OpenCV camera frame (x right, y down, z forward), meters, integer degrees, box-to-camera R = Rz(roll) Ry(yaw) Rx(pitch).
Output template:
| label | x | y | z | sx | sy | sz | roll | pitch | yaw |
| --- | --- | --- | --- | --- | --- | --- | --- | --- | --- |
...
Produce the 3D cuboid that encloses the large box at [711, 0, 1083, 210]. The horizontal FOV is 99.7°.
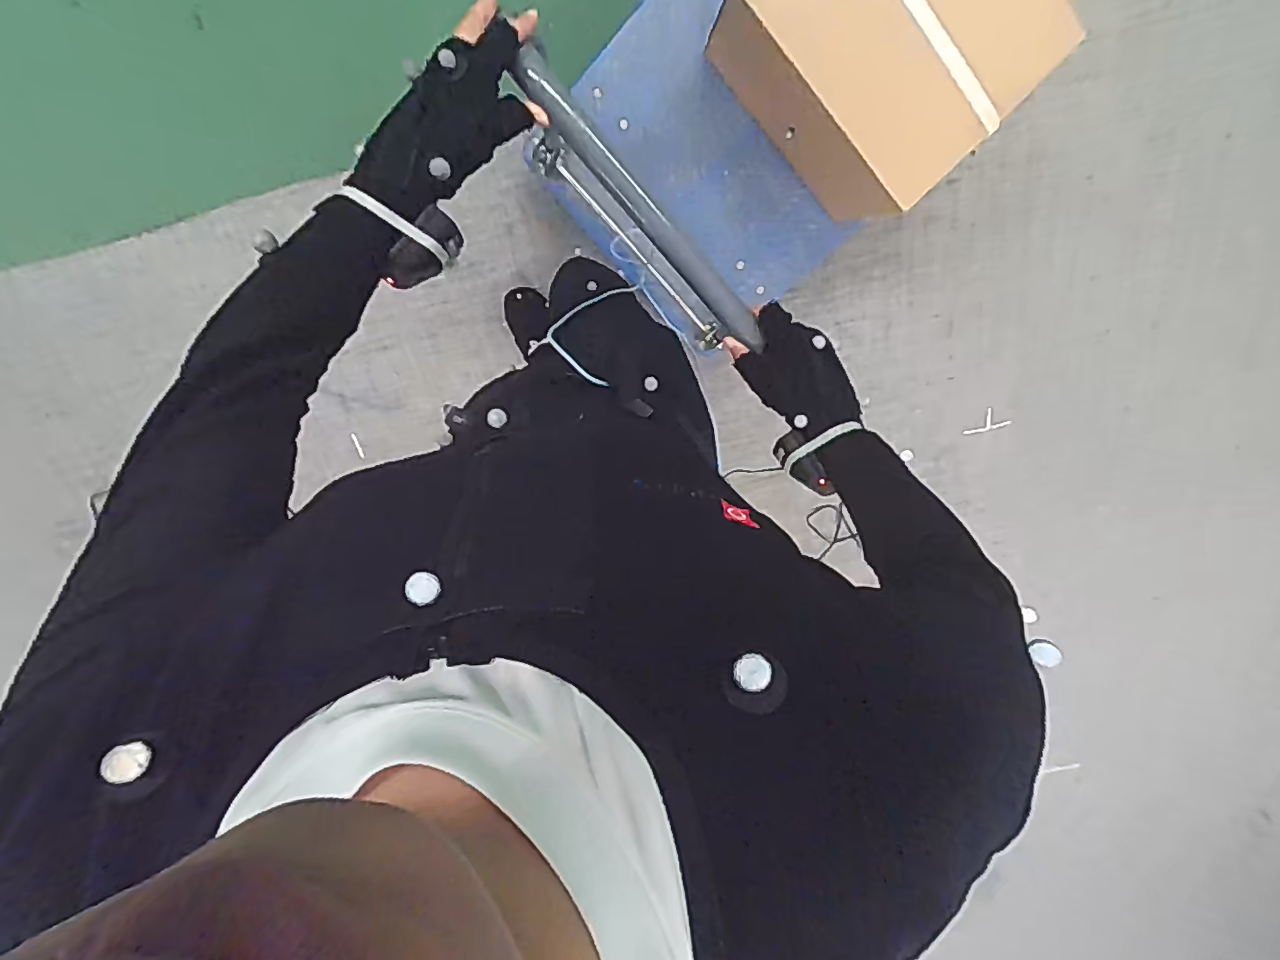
| label | x | y | z | sx | sy | sz | roll | pitch | yaw |
| --- | --- | --- | --- | --- | --- | --- | --- | --- | --- |
| large box | 0.376 | -0.714 | 0.882 | 0.408 | 0.320 | 0.320 | 41 | 106 | -16 |
